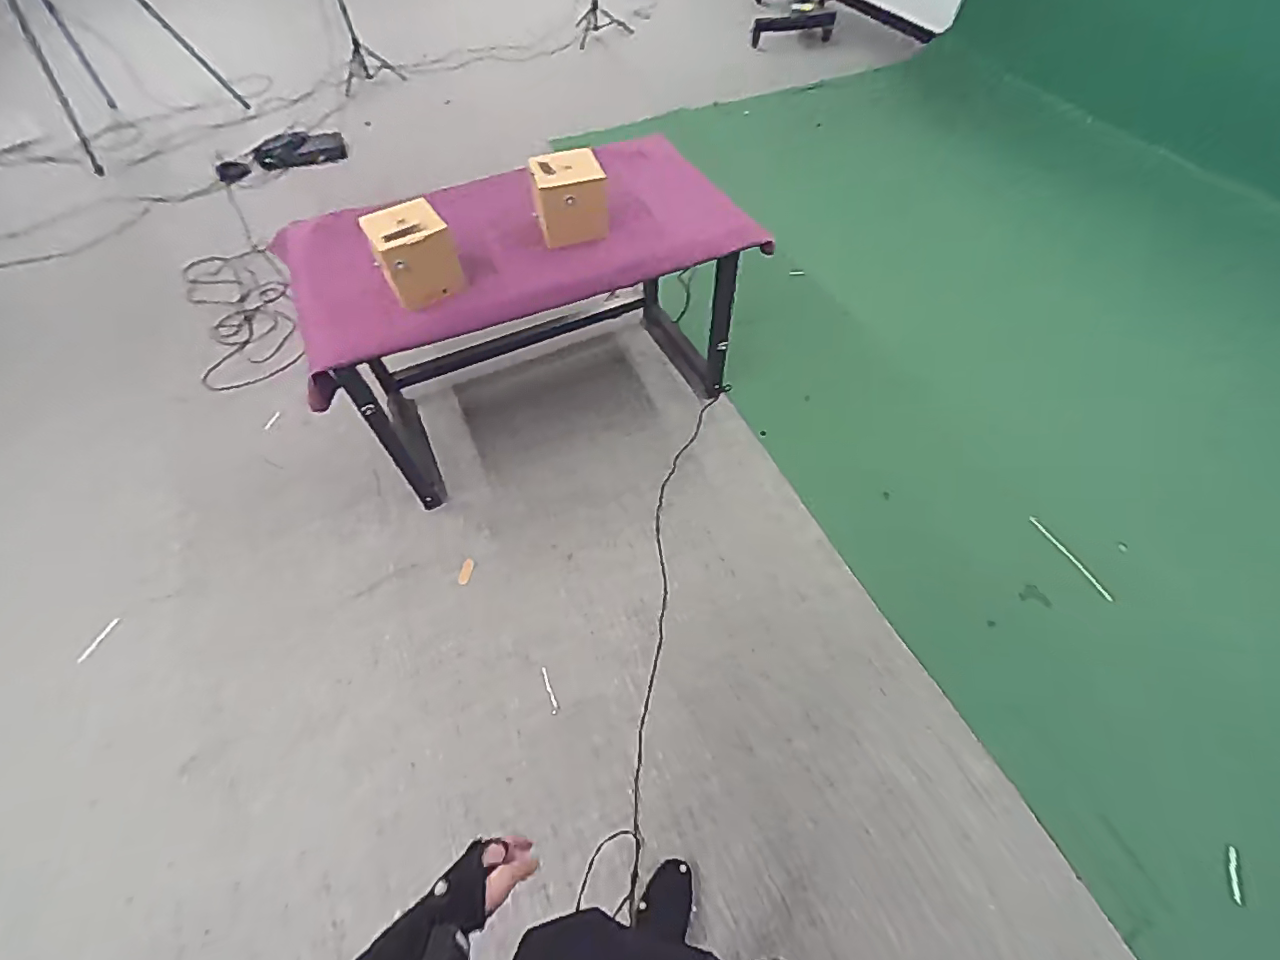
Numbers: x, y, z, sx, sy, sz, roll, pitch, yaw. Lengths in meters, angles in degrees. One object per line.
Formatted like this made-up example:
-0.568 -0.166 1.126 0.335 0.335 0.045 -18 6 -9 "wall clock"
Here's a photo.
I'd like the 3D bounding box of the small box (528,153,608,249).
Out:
-0.191 -0.755 1.471 0.179 0.176 0.168 -15 57 -9 "small box"
